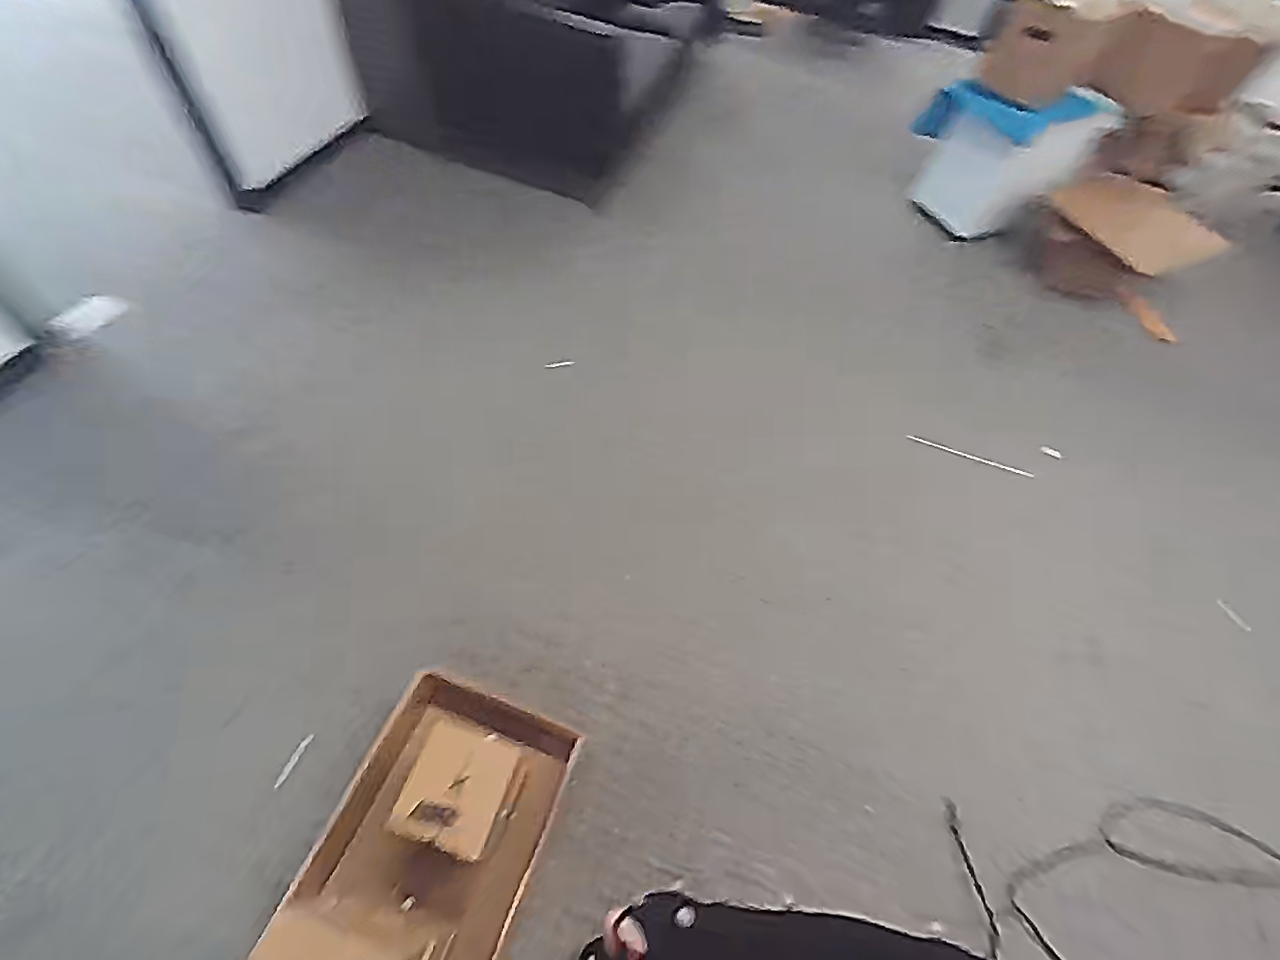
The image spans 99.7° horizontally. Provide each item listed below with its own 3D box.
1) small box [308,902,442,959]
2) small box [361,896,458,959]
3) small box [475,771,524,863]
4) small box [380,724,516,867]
[{"bbox_3d":[-0.429,0.790,0.841,0.168,0.176,0.179,19,55,6],"label":"small box"},{"bbox_3d":[-0.452,0.882,0.975,0.179,0.176,0.168,20,56,6],"label":"small box"},{"bbox_3d":[-0.357,0.668,1.131,0.179,0.176,0.168,22,57,6],"label":"small box"},{"bbox_3d":[-0.336,0.579,0.994,0.168,0.176,0.179,19,56,3],"label":"small box"}]
